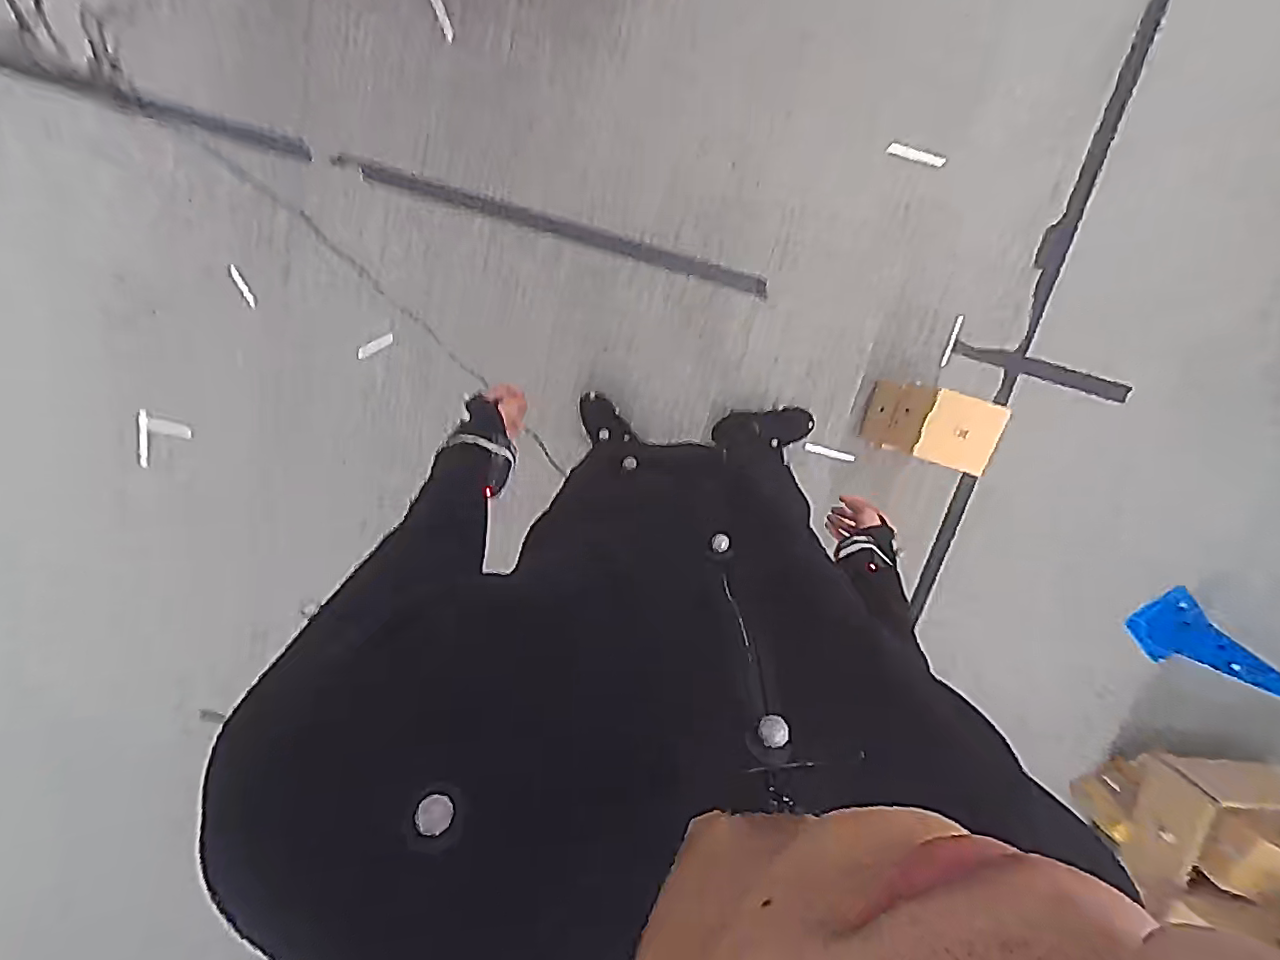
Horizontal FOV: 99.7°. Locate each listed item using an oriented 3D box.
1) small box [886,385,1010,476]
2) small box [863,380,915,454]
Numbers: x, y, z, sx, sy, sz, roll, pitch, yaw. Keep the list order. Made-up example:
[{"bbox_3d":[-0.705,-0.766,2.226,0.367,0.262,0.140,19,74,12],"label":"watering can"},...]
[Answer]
[{"bbox_3d":[0.742,-0.128,1.323,0.179,0.176,0.168,17,105,-1],"label":"small box"},{"bbox_3d":[0.736,-0.168,1.482,0.168,0.176,0.179,13,104,-1],"label":"small box"}]
